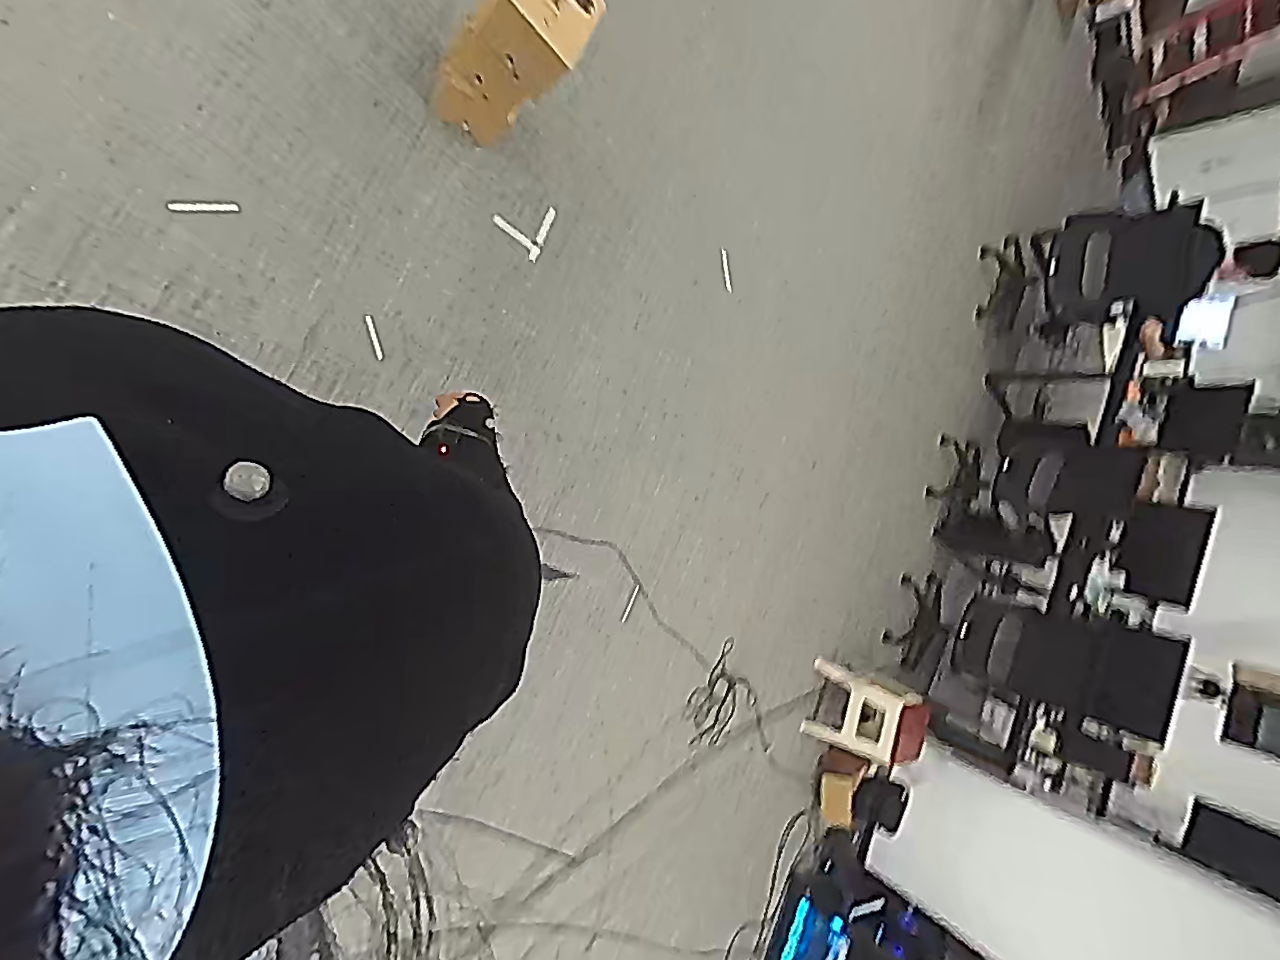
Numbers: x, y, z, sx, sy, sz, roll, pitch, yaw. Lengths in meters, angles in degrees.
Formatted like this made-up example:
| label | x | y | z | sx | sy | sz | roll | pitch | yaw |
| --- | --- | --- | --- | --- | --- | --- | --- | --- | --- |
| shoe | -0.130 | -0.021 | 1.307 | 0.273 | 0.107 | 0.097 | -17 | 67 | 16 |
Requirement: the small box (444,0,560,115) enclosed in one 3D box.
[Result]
| label | x | y | z | sx | sy | sz | roll | pitch | yaw |
| --- | --- | --- | --- | --- | --- | --- | --- | --- | --- |
| small box | -0.319 | -0.987 | 1.229 | 0.168 | 0.176 | 0.179 | 31 | 78 | -38 |

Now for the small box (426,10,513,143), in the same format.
| label | x | y | z | sx | sy | sz | roll | pitch | yaw |
| --- | --- | --- | --- | --- | --- | --- | --- | --- | --- |
| small box | -0.419 | -0.999 | 1.357 | 0.168 | 0.176 | 0.179 | 15 | 88 | -39 |
